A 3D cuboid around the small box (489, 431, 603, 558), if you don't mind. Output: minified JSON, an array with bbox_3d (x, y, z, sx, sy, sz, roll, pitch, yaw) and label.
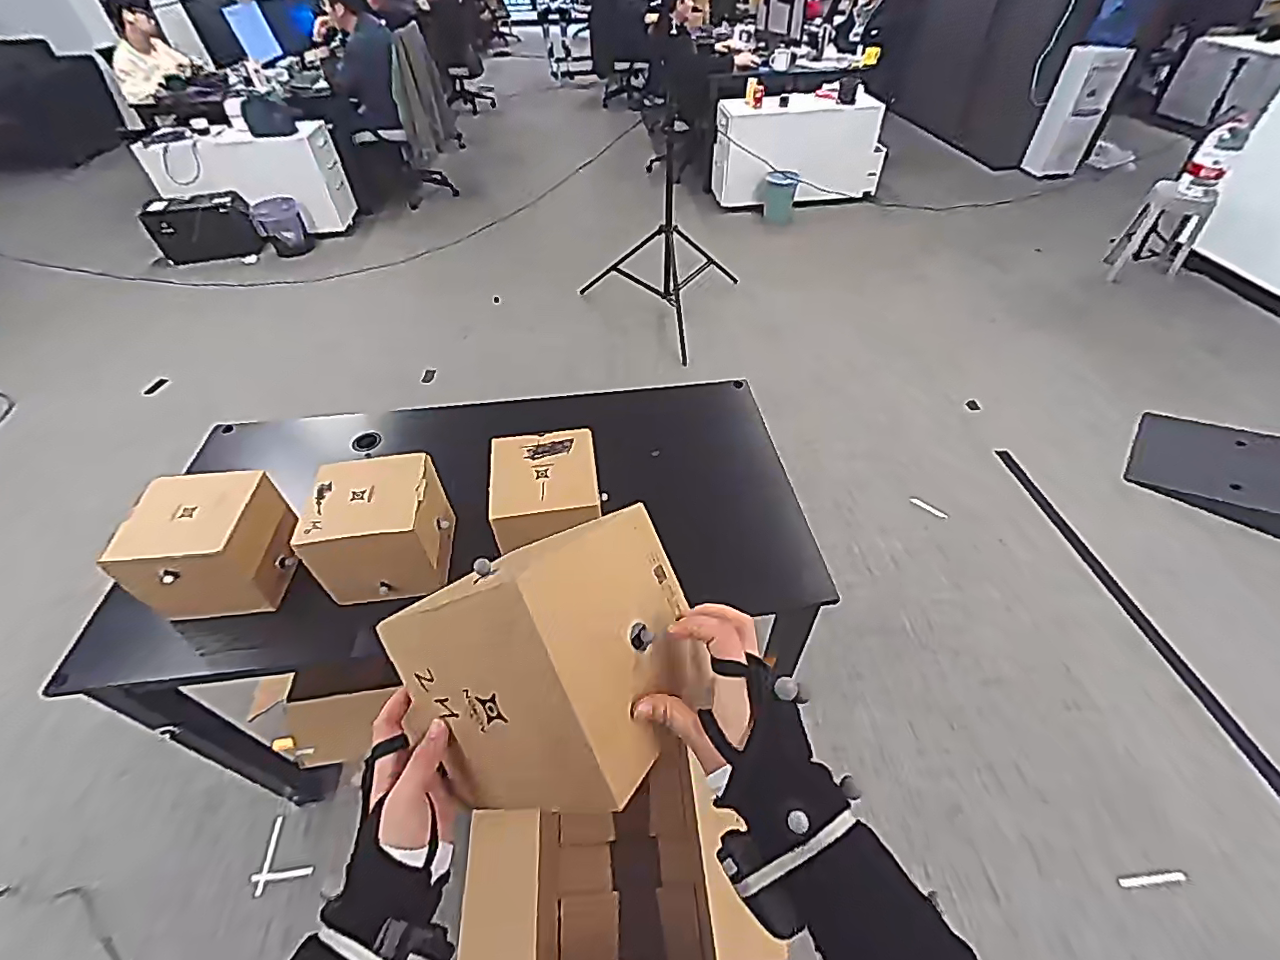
[{"bbox_3d":[-0.150,0.043,0.909,0.168,0.176,0.179,-7,47,-5],"label":"small box"}]

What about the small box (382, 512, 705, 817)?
[{"bbox_3d":[-0.065,0.141,0.448,0.179,0.168,0.176,-22,3,34],"label":"small box"}]

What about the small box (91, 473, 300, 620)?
[{"bbox_3d":[-0.679,0.109,0.862,0.179,0.176,0.168,-4,47,-3],"label":"small box"}]

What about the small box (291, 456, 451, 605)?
[{"bbox_3d":[-0.417,0.083,0.879,0.179,0.176,0.168,-6,46,-6],"label":"small box"}]
